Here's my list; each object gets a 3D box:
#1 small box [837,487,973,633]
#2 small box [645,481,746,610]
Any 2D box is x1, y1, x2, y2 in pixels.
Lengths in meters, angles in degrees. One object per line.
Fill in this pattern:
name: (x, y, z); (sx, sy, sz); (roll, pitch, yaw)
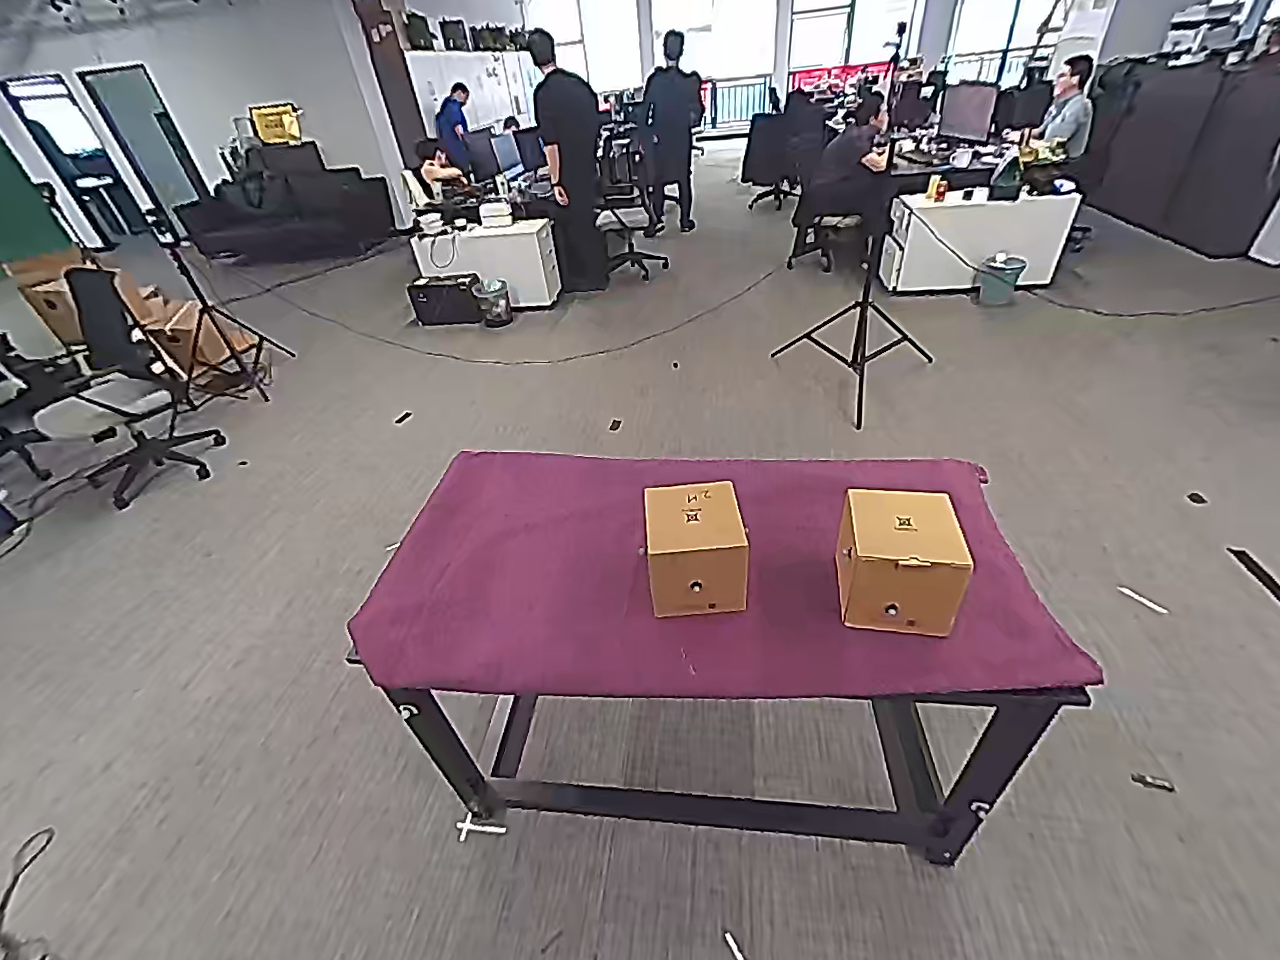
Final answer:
small box: (0.439, 0.134, 0.930); (0.168, 0.176, 0.179); (2, 37, 13)
small box: (0.100, 0.125, 0.995); (0.168, 0.176, 0.179); (-5, 37, 2)
